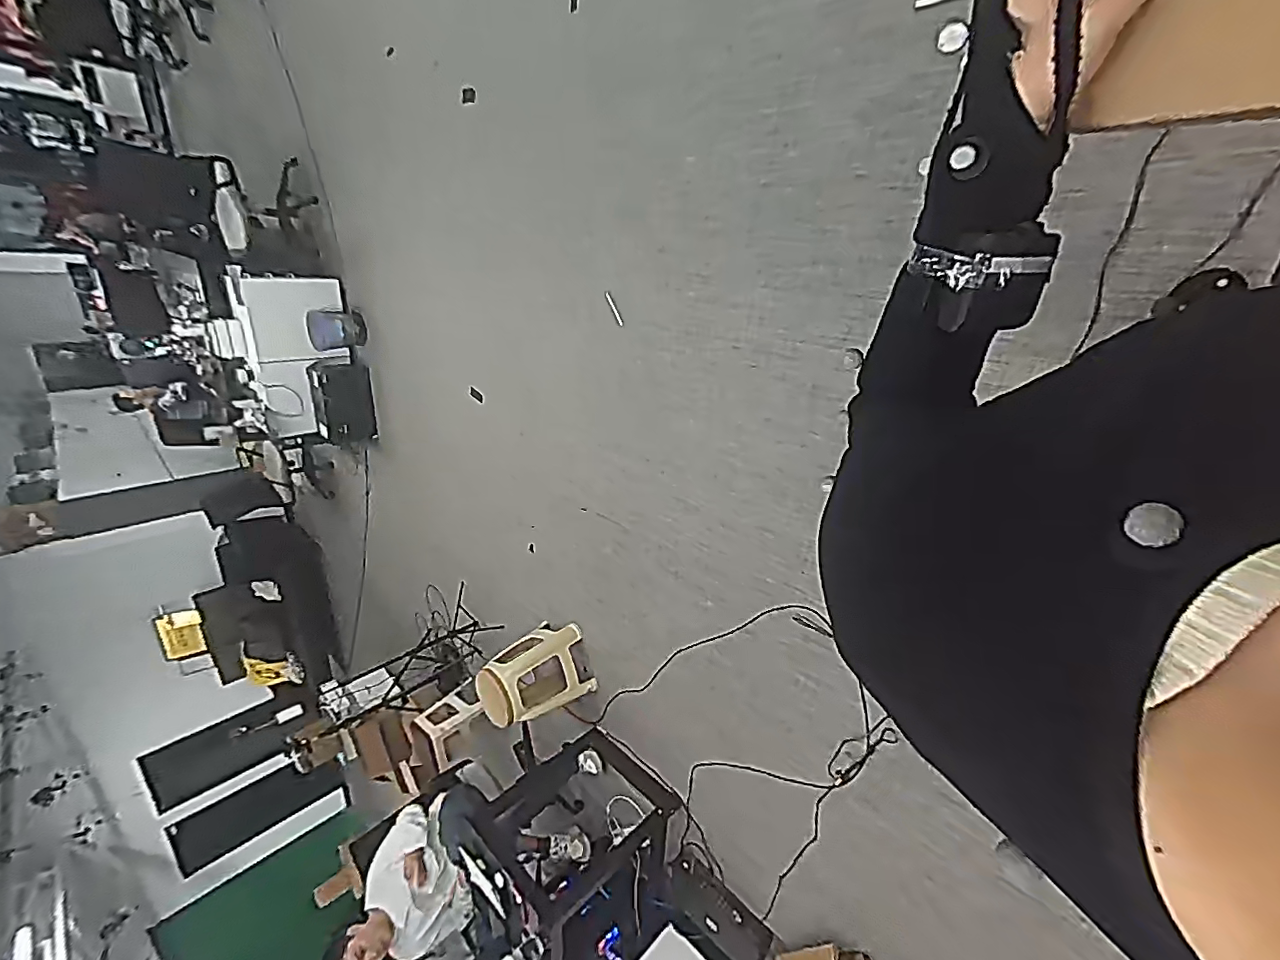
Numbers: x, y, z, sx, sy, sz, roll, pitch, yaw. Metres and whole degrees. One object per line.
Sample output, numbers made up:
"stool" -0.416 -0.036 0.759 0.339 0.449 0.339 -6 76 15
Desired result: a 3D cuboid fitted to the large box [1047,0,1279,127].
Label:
"large box" 0.466 -0.351 0.211 0.408 0.320 0.320 21 129 41
